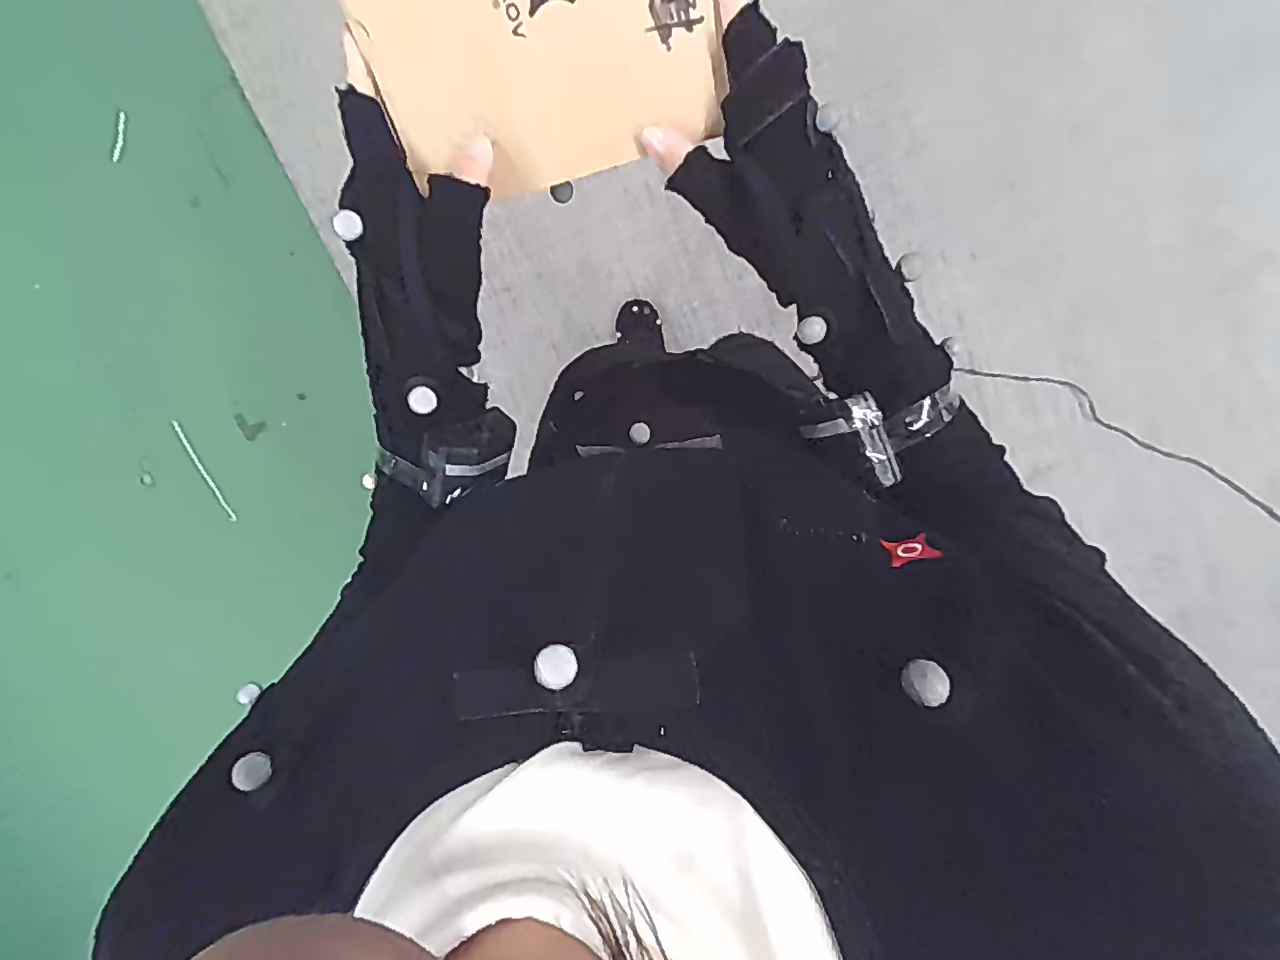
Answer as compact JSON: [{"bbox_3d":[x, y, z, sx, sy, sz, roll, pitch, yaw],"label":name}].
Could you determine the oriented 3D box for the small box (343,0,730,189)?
[{"bbox_3d":[-0.061,-0.284,0.319,0.179,0.176,0.168,-16,119,5],"label":"small box"}]
